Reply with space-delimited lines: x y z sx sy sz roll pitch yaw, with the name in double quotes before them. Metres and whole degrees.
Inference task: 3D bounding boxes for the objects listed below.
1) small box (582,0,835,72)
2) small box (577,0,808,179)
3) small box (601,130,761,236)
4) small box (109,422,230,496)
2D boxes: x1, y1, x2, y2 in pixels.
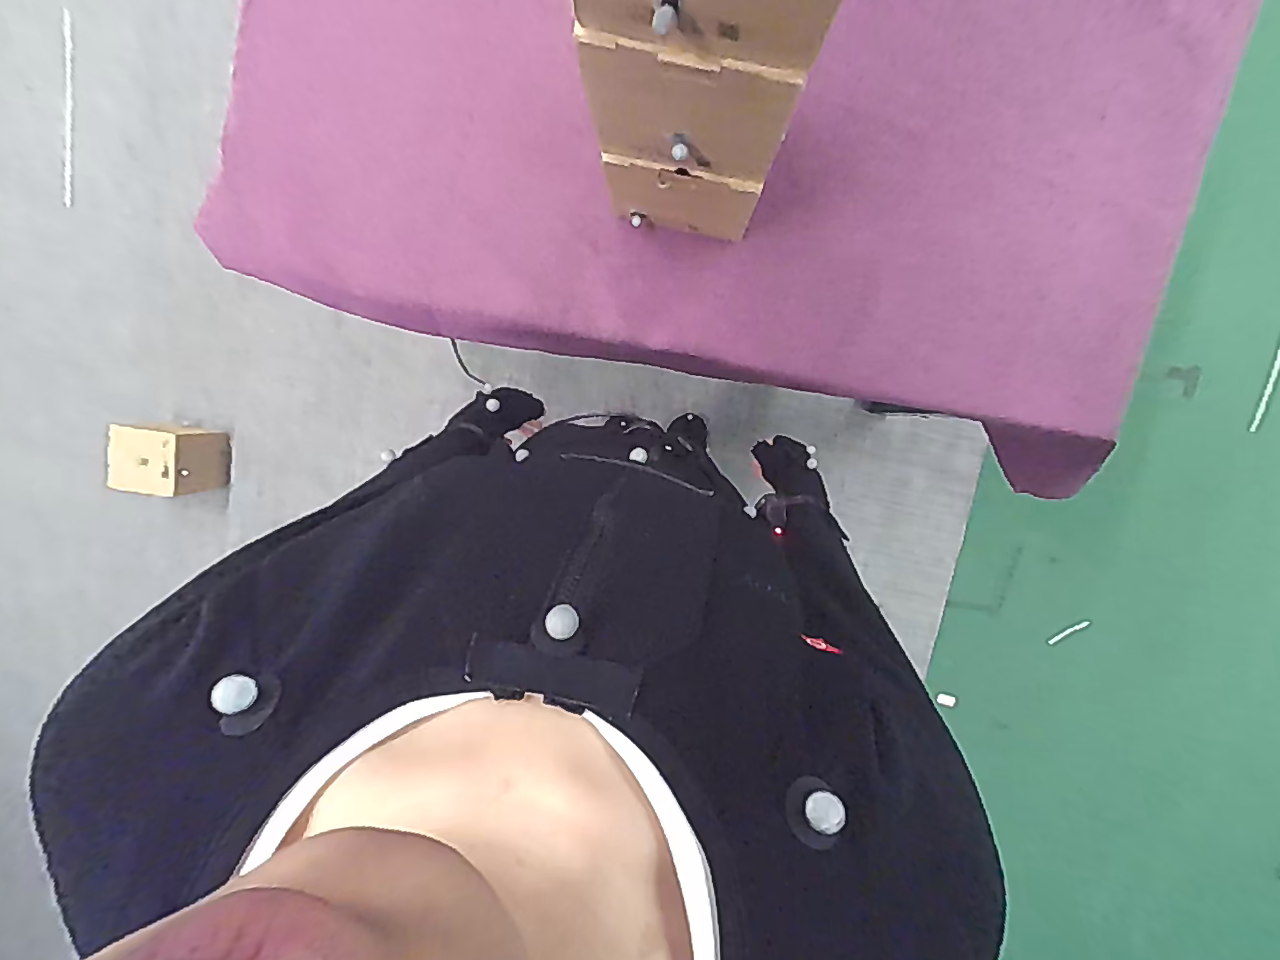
"small box" 0.049 -0.370 0.283 0.168 0.176 0.179 12 98 2
"small box" 0.055 -0.386 0.445 0.168 0.176 0.179 12 98 1
"small box" 0.062 -0.399 0.608 0.168 0.176 0.179 13 97 1
"small box" -1.250 -0.061 1.443 0.179 0.176 0.168 9 98 2
